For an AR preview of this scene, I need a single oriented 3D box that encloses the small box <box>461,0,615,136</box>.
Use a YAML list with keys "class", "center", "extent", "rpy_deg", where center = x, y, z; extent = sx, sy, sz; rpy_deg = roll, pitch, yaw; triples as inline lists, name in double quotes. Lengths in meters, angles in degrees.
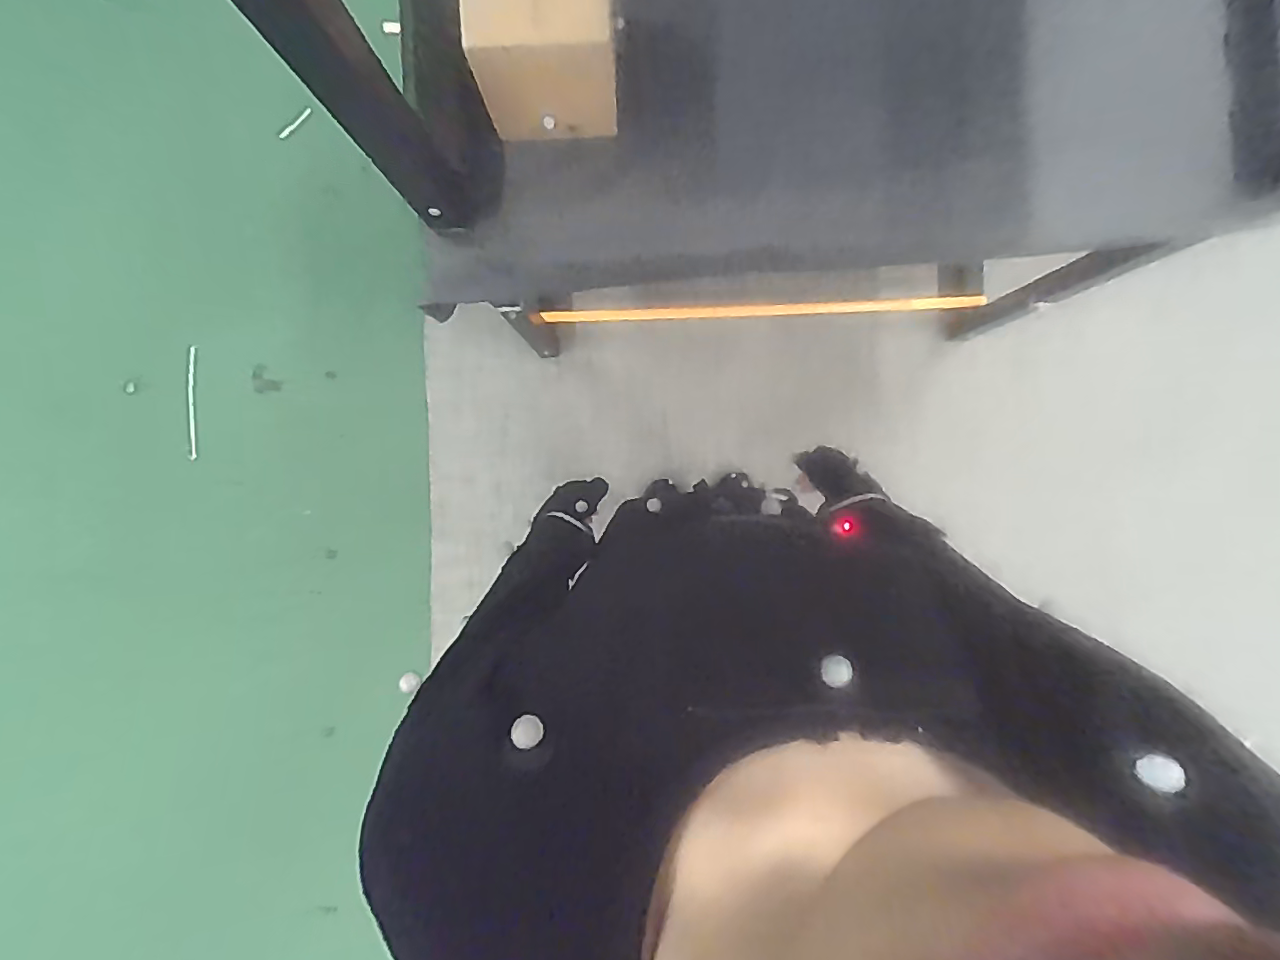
- class: "small box"
  center: [-0.118, -0.569, 0.675]
  extent: [0.168, 0.176, 0.179]
  rpy_deg: [-2, 91, 0]
